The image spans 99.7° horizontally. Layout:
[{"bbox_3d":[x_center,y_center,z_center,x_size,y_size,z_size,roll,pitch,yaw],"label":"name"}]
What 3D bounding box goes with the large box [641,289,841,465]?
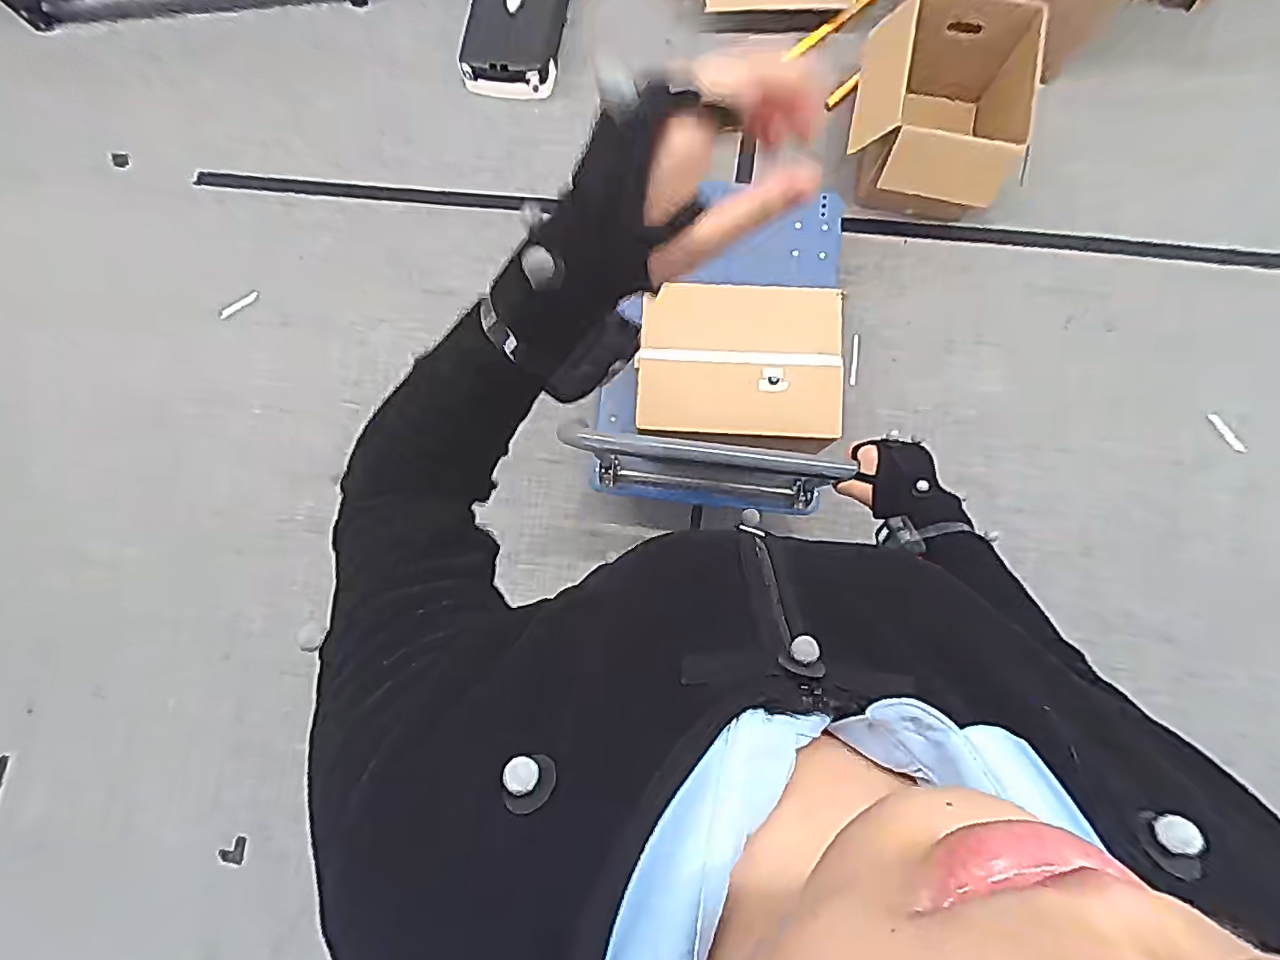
[{"bbox_3d":[0.206,-0.215,1.239,0.408,0.320,0.320,3,82,2],"label":"large box"}]
